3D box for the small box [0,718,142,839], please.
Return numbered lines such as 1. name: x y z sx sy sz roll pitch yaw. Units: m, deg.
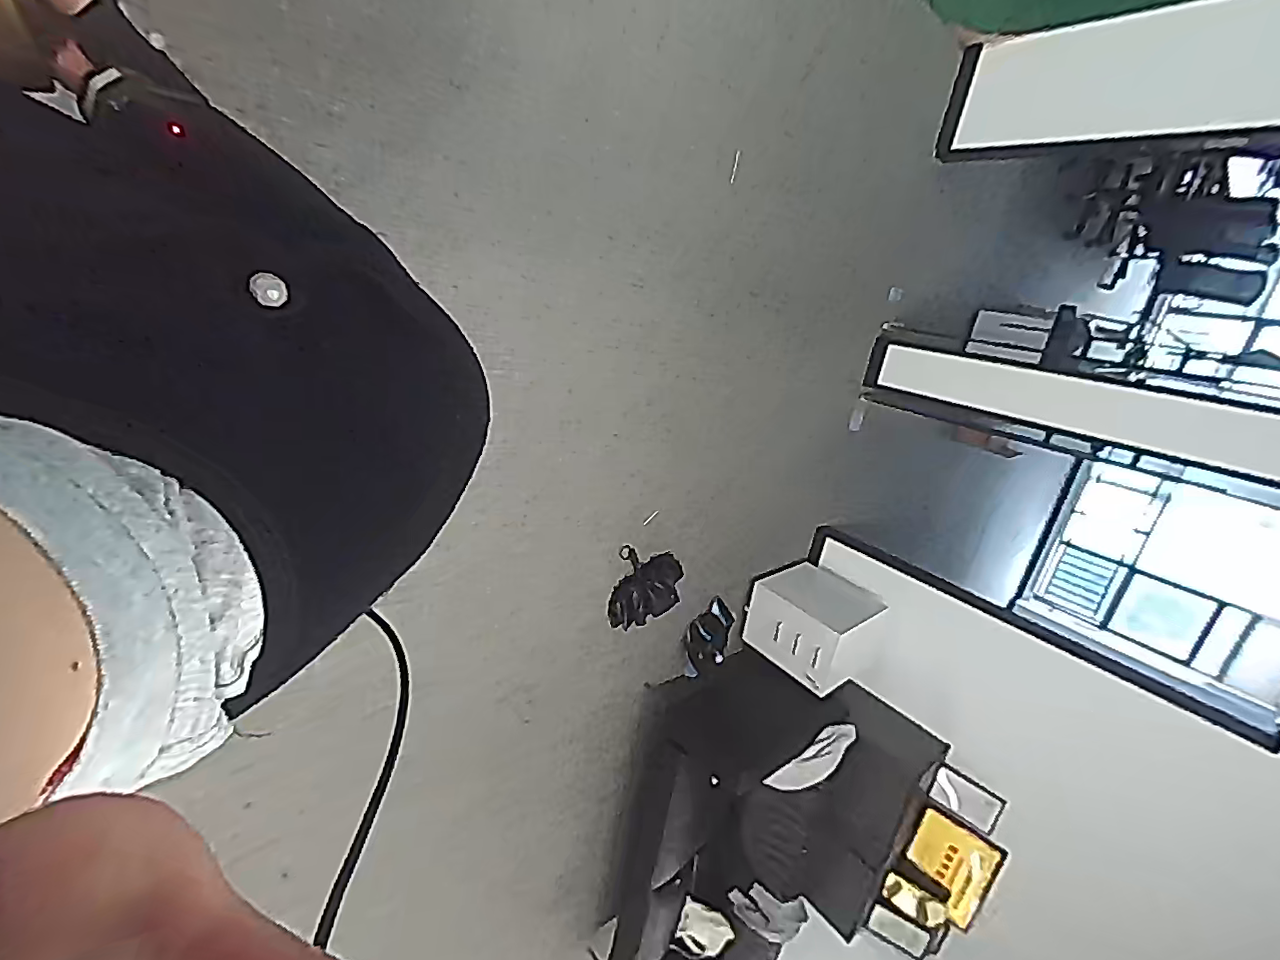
1. small box: -1.336 0.699 1.277 0.179 0.176 0.168 -49 135 -12
